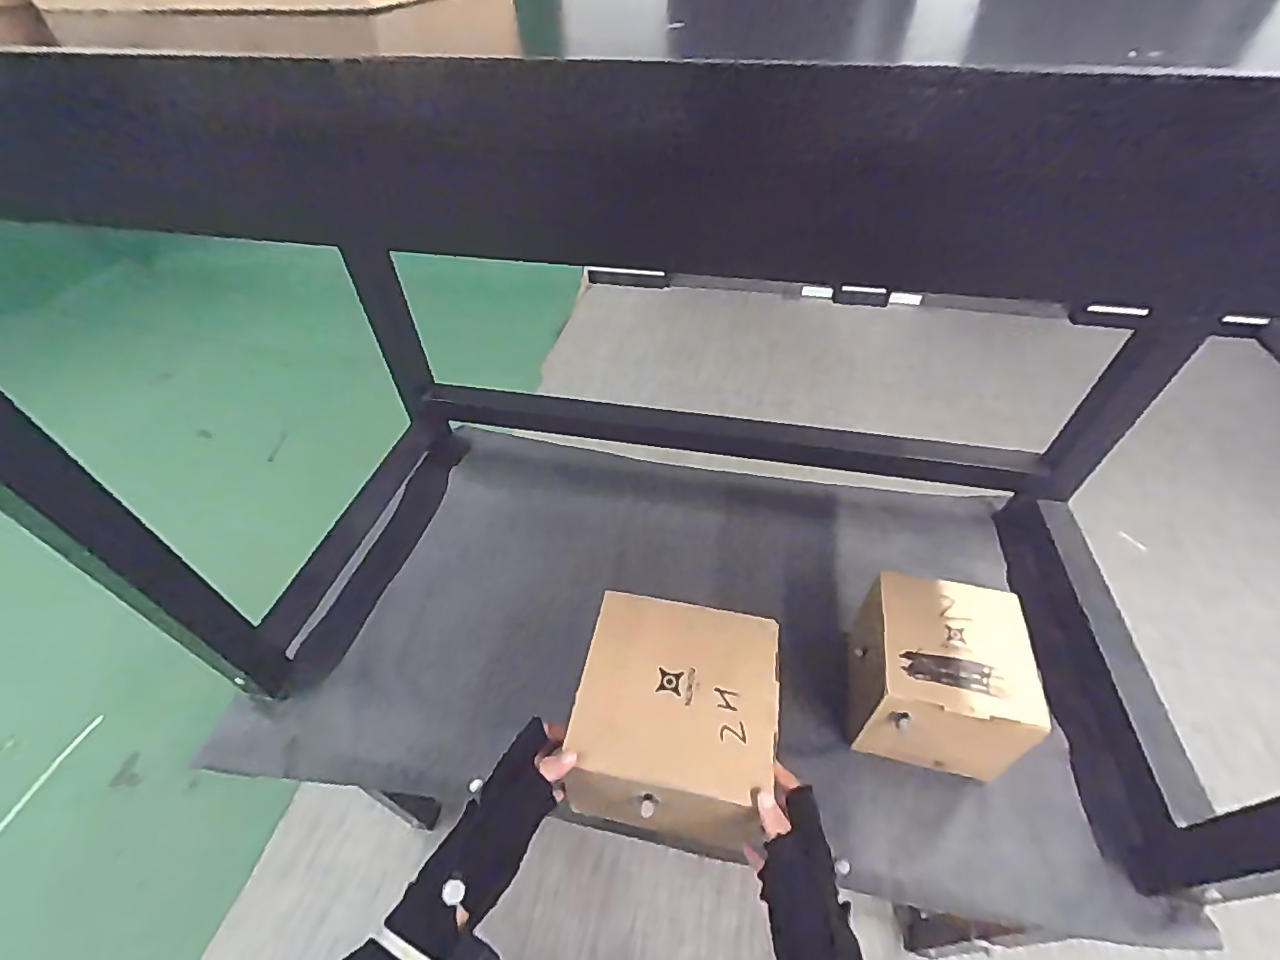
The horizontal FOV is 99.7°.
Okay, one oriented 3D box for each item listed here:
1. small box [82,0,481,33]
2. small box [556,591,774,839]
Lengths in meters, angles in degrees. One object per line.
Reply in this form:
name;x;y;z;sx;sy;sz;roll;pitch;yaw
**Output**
small box;-0.179;-0.315;0.240;0.168;0.176;0.179;7;46;8
small box;0.029;0.238;0.543;0.179;0.176;0.168;9;48;7
